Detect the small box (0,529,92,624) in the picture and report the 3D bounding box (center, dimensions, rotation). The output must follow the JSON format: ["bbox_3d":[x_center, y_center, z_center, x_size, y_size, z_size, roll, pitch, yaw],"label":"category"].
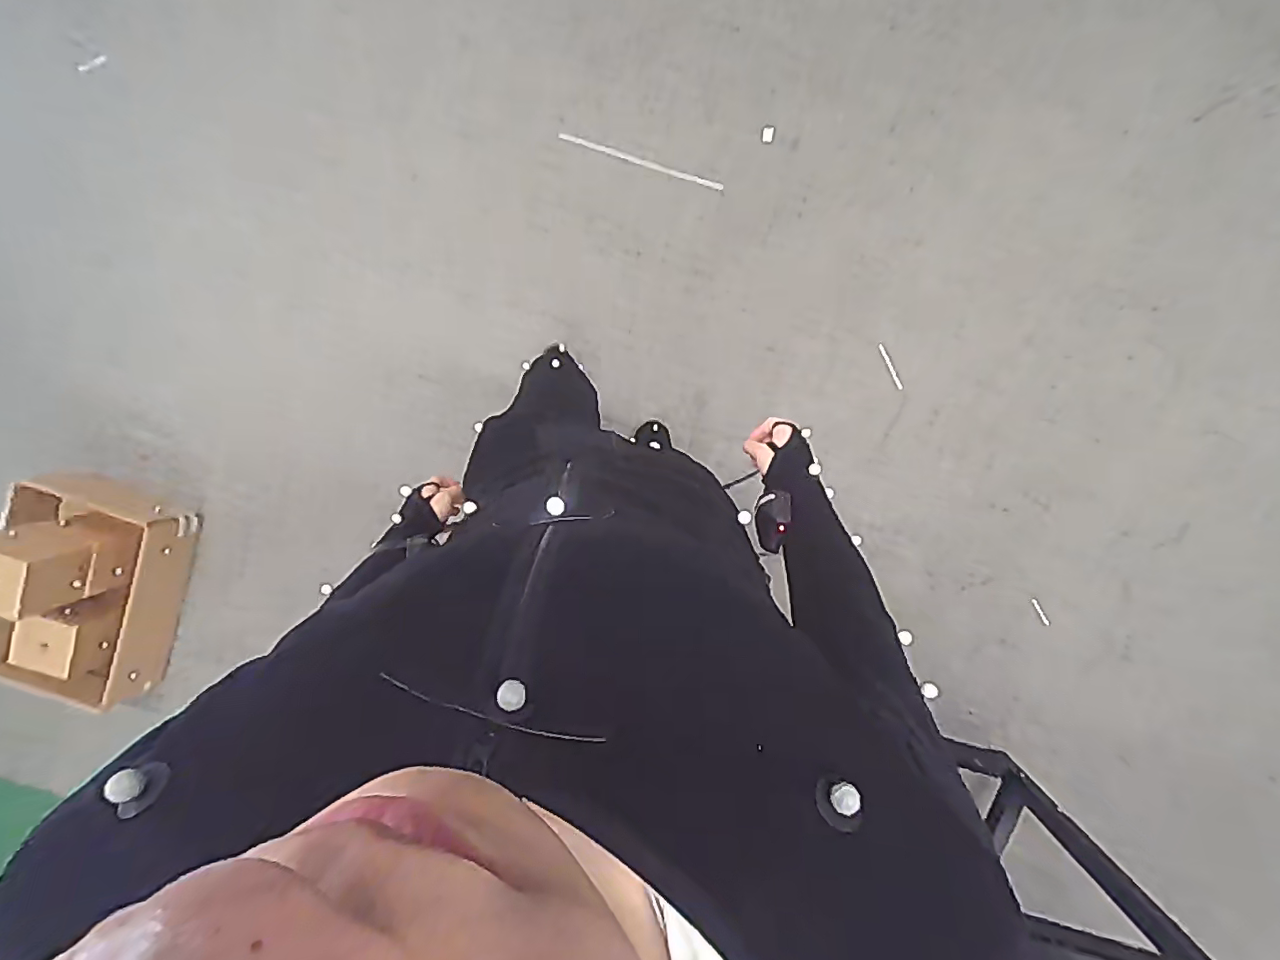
[{"bbox_3d":[-1.603,0.240,1.401,0.179,0.176,0.168,21,99,-2],"label":"small box"}]

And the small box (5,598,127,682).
[{"bbox_3d":[-1.684,0.461,1.596,0.179,0.176,0.168,18,96,-2],"label":"small box"}]

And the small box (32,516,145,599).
[{"bbox_3d":[-1.596,0.216,1.564,0.179,0.176,0.168,19,98,-2],"label":"small box"}]
